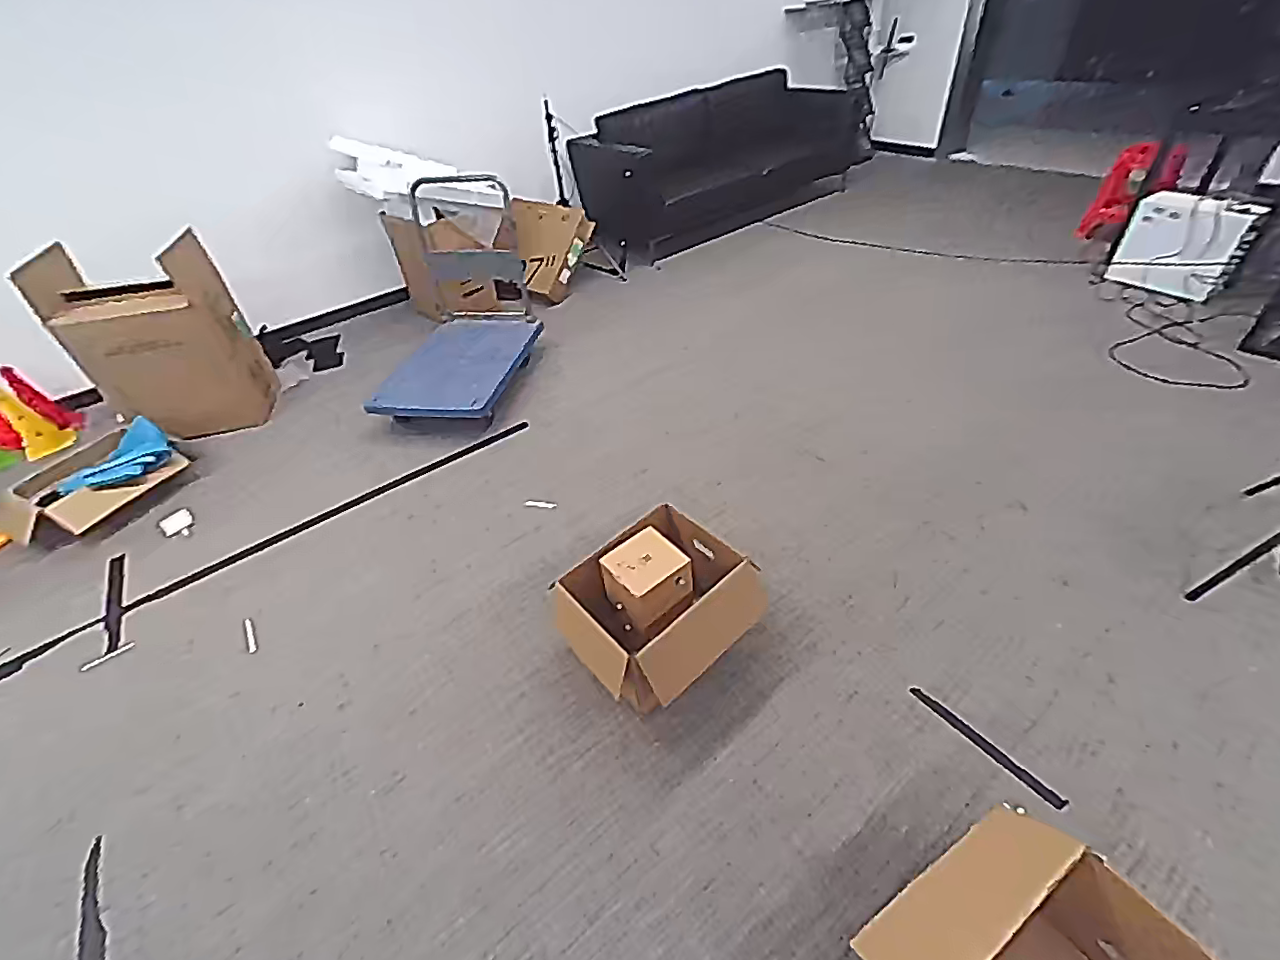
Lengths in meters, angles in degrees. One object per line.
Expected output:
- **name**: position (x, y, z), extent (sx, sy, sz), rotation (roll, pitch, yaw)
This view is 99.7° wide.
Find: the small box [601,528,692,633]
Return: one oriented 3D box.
- **small box**: position (0.021, 0.266, 1.432), extent (0.179, 0.176, 0.168), rotation (-31, 46, -24)
